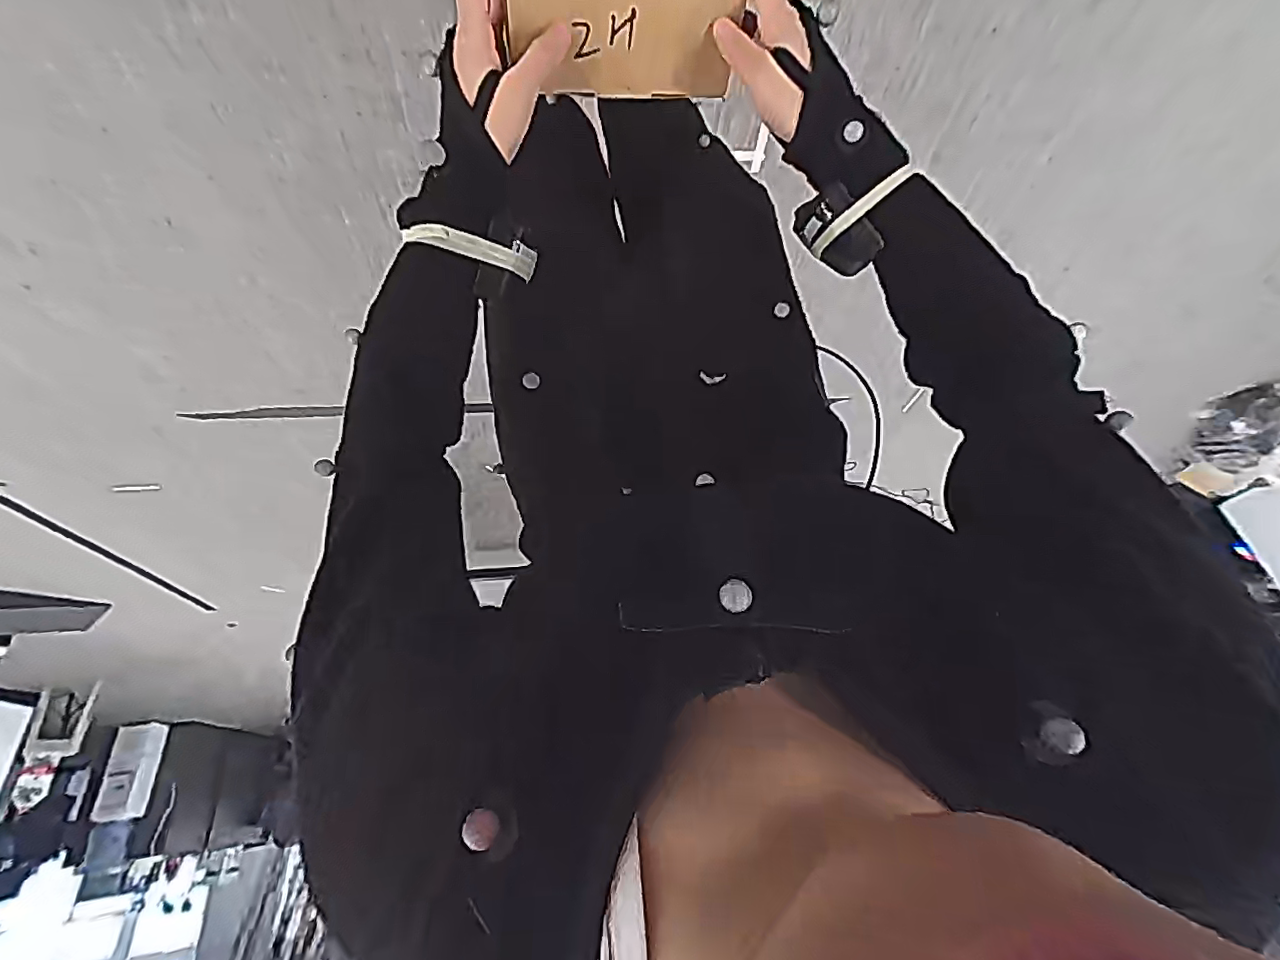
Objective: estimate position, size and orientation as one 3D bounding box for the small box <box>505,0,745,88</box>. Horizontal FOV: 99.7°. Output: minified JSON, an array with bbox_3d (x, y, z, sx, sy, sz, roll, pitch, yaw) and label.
[{"bbox_3d":[-0.017,-0.413,0.372,0.168,0.176,0.179,-6,153,-11],"label":"small box"}]
